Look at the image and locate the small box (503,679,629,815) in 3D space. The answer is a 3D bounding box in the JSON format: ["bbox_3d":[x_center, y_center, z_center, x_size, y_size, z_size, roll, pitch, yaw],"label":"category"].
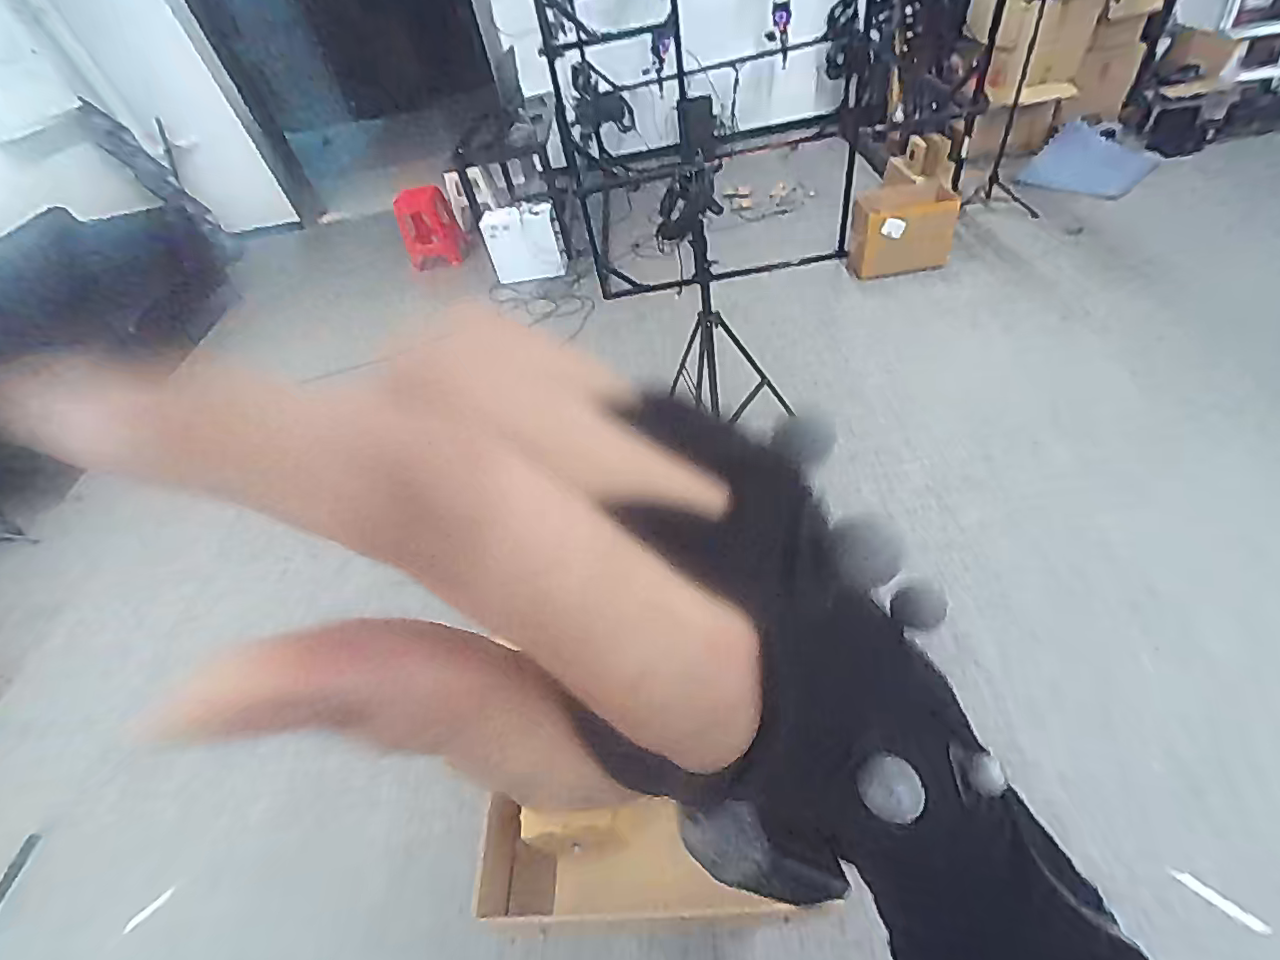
[{"bbox_3d":[-0.116,0.465,0.938,0.179,0.176,0.168,-8,46,6],"label":"small box"}]

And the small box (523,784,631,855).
[{"bbox_3d":[-0.117,0.596,1.043,0.168,0.176,0.179,-12,46,3],"label":"small box"}]
